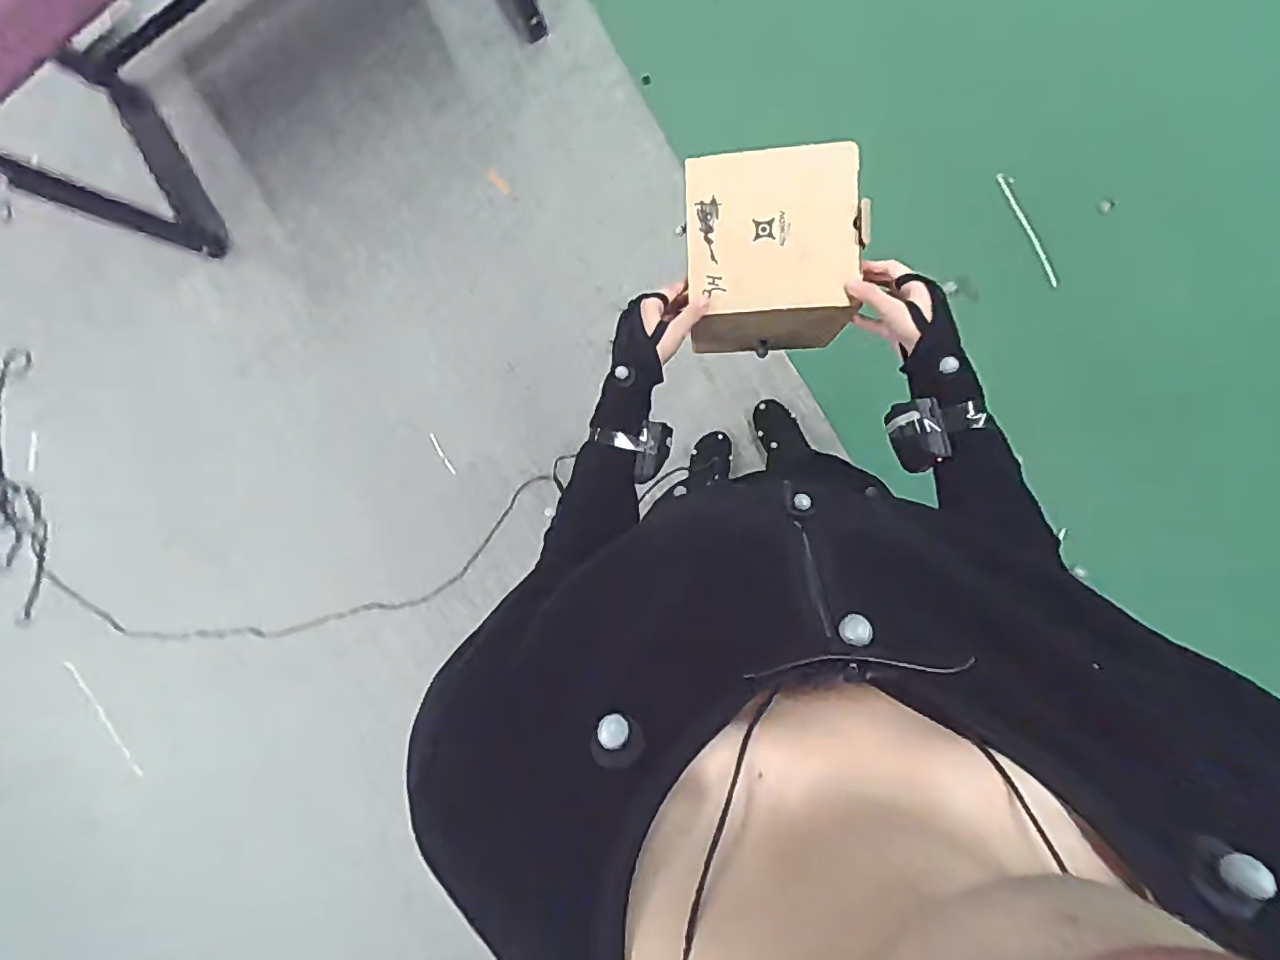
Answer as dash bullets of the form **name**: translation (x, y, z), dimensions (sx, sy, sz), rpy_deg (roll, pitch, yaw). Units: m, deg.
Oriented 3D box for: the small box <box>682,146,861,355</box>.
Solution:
- **small box**: translation (0.139, -0.248, 0.624), dimensions (0.179, 0.176, 0.168), rpy_deg (-2, 88, 6)
